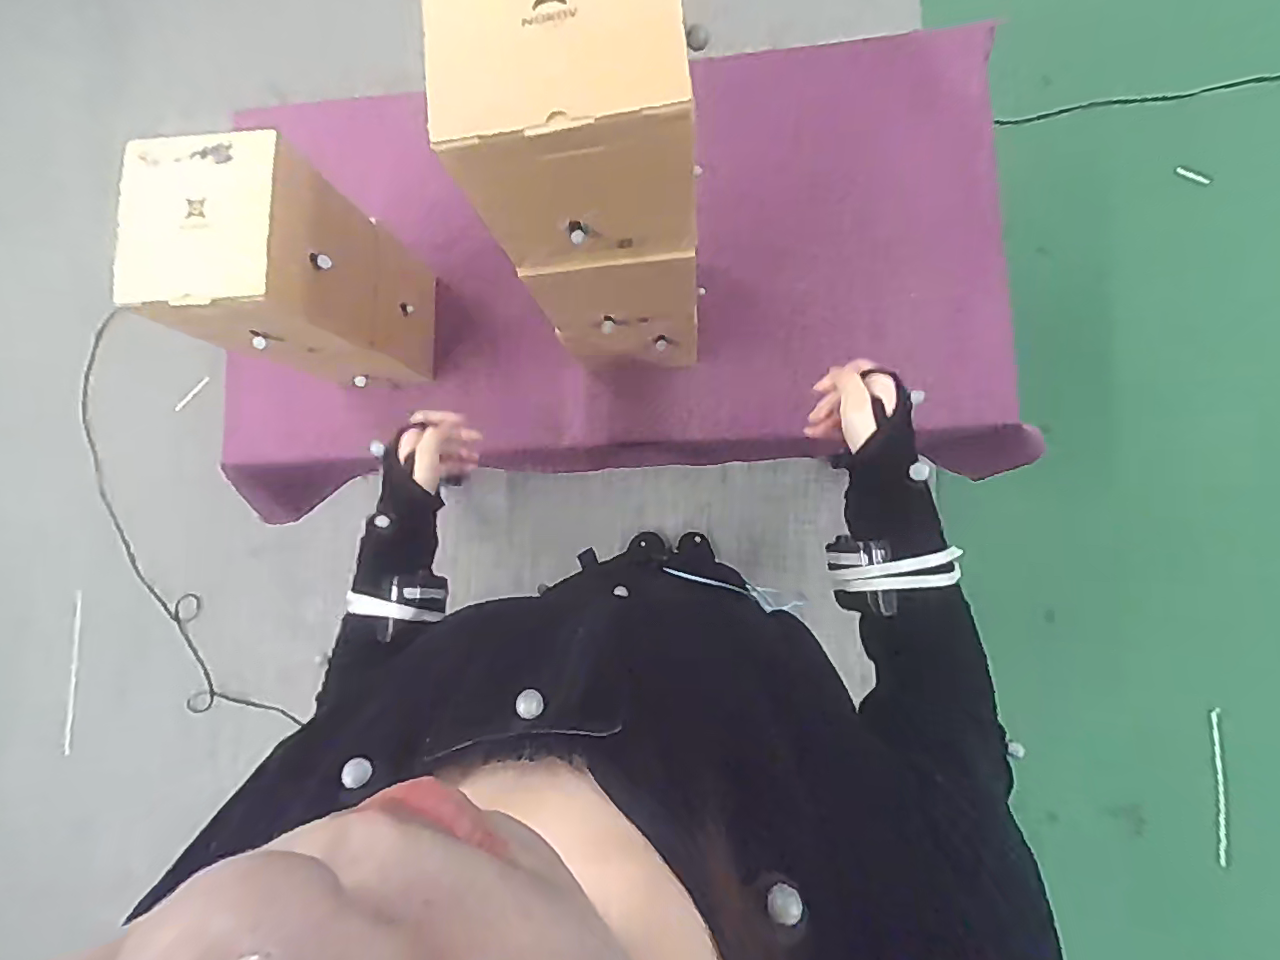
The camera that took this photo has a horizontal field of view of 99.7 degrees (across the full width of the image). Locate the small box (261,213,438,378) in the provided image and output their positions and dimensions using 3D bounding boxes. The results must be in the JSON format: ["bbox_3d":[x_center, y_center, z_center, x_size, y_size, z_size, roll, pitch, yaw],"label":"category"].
[{"bbox_3d":[-0.407,-0.255,0.779,0.168,0.176,0.179,-1,86,6],"label":"small box"}]

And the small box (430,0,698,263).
[{"bbox_3d":[-0.046,-0.298,0.419,0.168,0.176,0.179,-6,86,6],"label":"small box"}]

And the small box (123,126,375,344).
[{"bbox_3d":[-0.426,-0.259,0.616,0.168,0.176,0.179,0,86,5],"label":"small box"}]

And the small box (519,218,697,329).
[{"bbox_3d":[-0.027,-0.280,0.580,0.168,0.176,0.179,-4,86,6],"label":"small box"}]

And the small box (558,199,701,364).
[{"bbox_3d":[-0.010,-0.265,0.741,0.179,0.176,0.168,-3,85,5],"label":"small box"}]
